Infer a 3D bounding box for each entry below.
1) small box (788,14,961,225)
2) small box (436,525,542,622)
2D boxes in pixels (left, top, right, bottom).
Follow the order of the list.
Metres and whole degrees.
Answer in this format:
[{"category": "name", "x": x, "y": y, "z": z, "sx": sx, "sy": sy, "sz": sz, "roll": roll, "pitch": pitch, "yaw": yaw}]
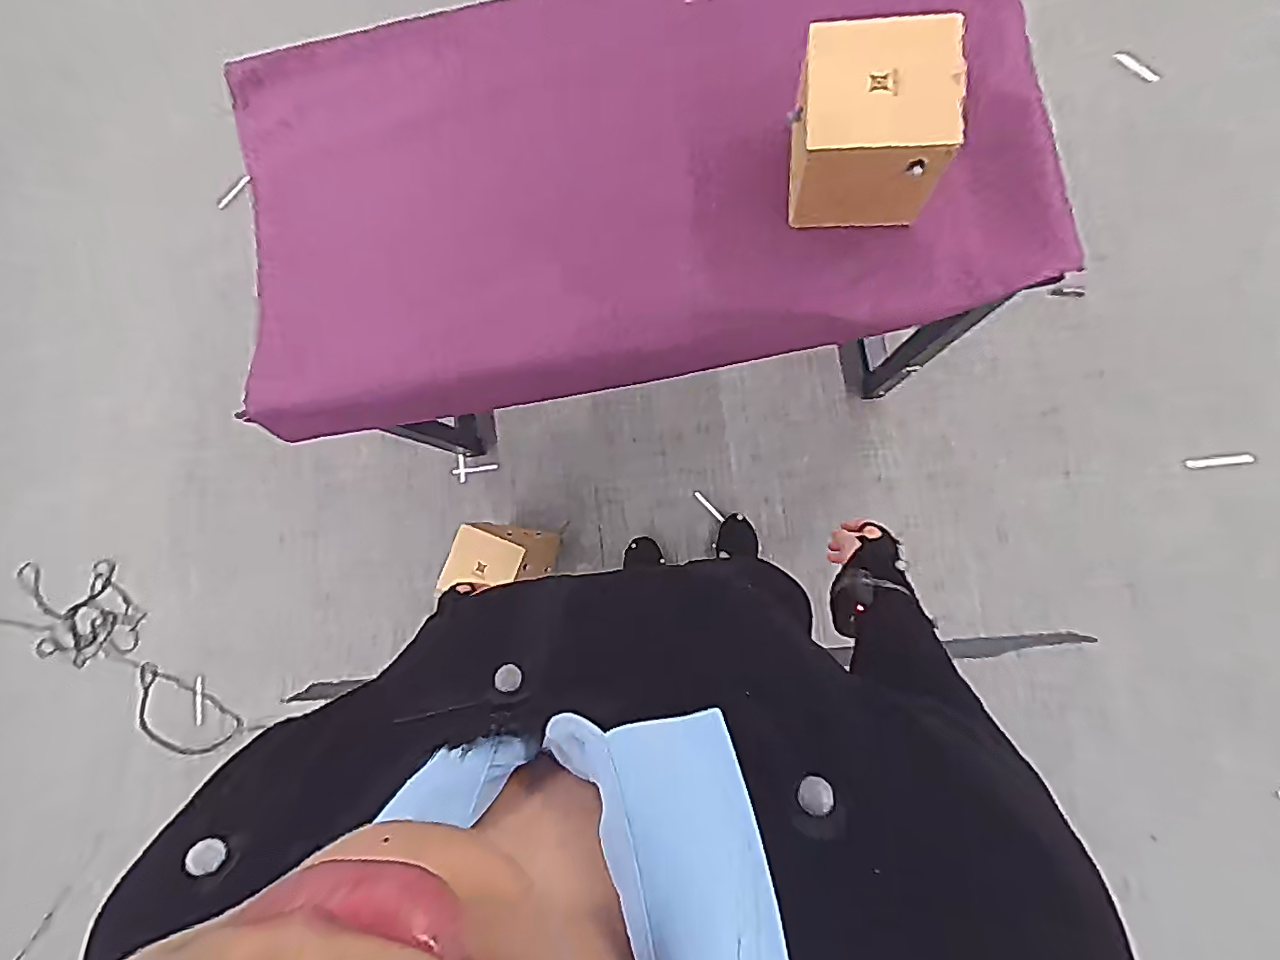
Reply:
[{"category": "small box", "x": 0.295, "y": -0.458, "z": 0.715, "sx": 0.179, "sy": 0.176, "sz": 0.168, "roll": 2, "pitch": 85, "yaw": 7}, {"category": "small box", "x": -0.350, "y": 0.216, "z": 1.296, "sx": 0.168, "sy": 0.176, "sz": 0.179, "roll": 21, "pitch": 88, "yaw": 8}]
